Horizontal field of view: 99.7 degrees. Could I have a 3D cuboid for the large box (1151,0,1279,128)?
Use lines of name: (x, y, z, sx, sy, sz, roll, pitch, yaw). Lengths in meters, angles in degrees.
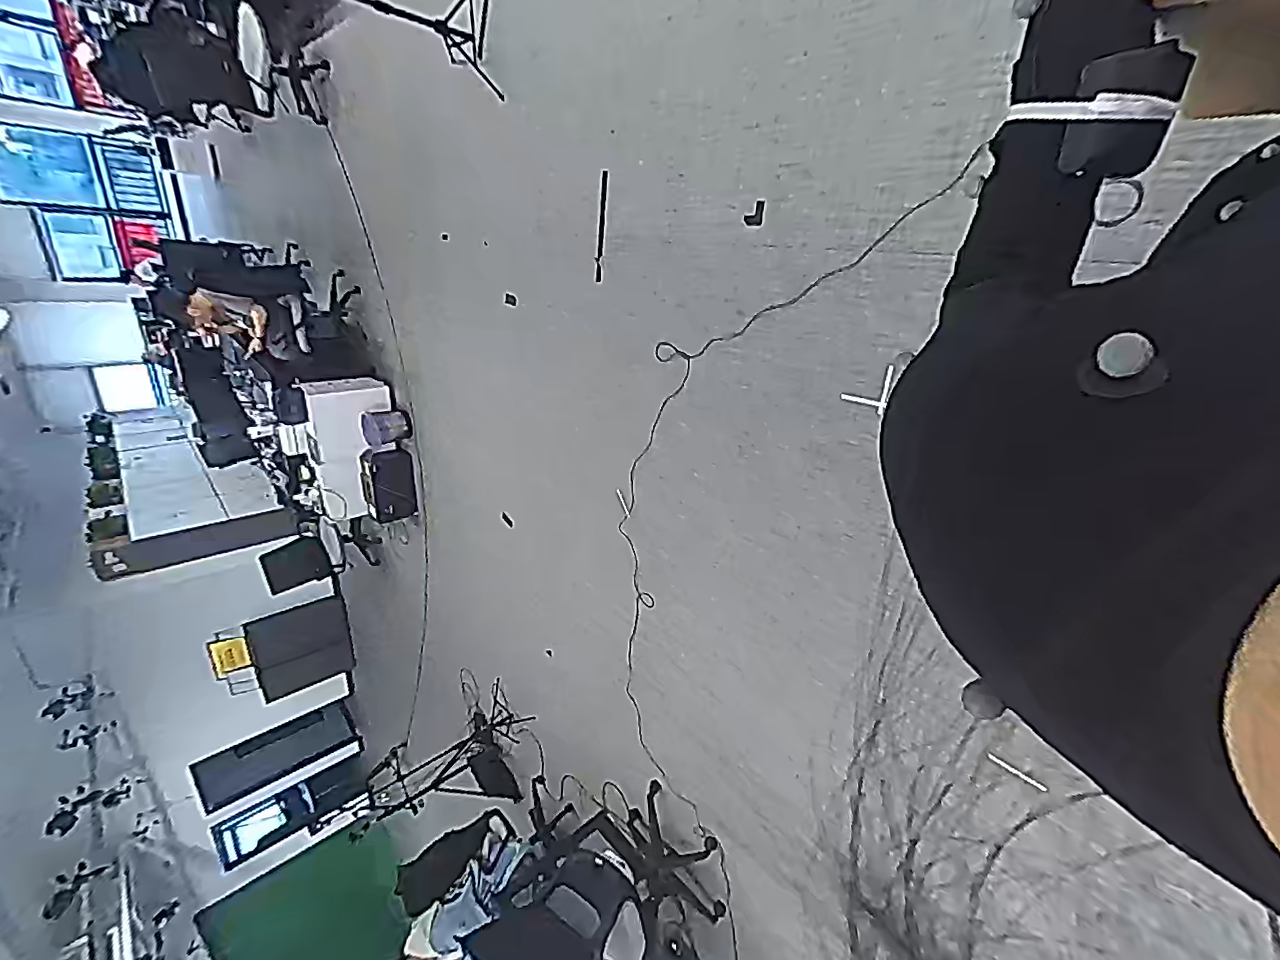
large box: (0.547, -0.381, 0.232, 0.408, 0.320, 0.320, 25, 121, 40)
